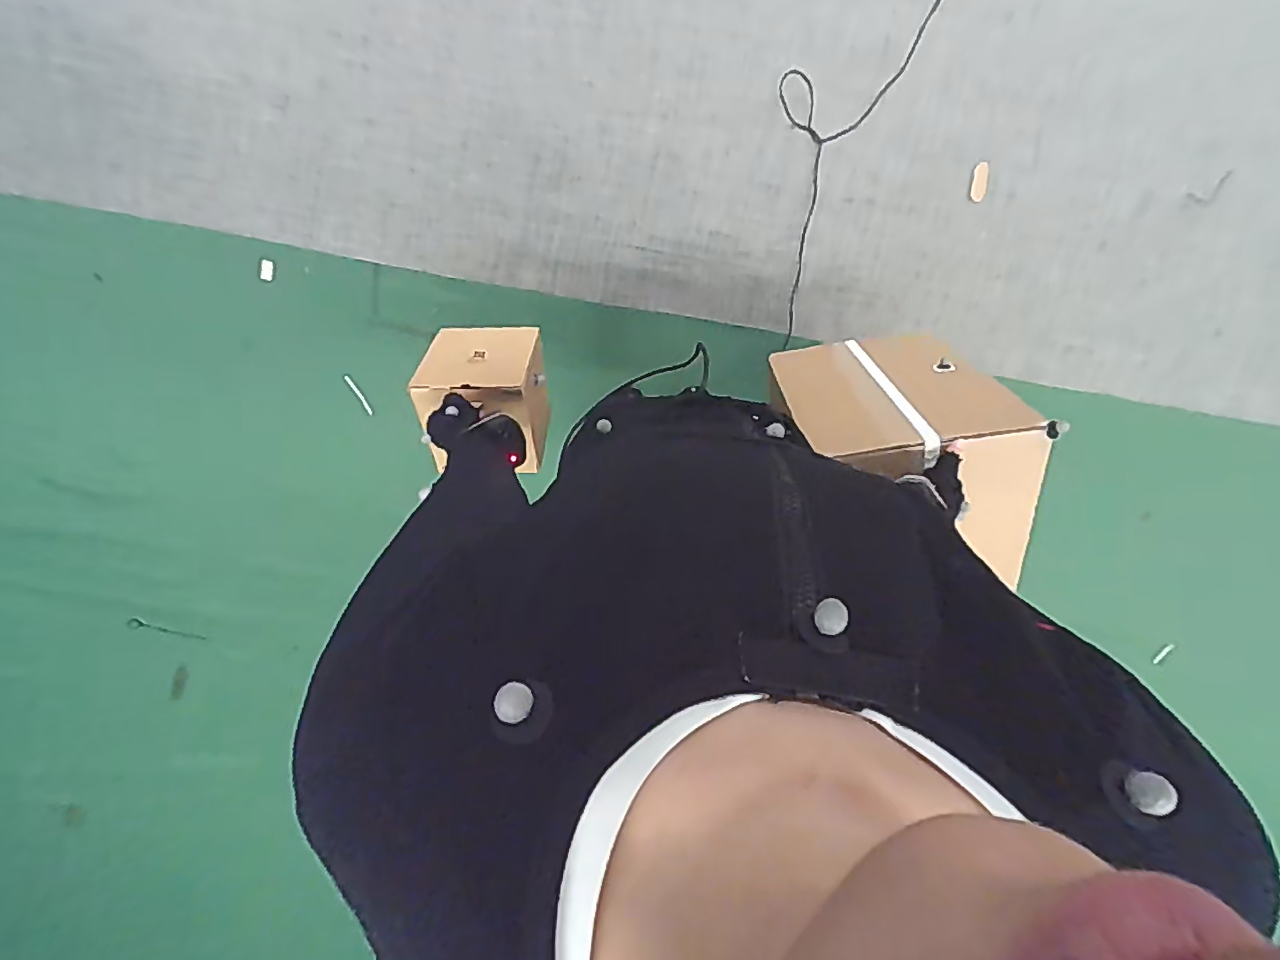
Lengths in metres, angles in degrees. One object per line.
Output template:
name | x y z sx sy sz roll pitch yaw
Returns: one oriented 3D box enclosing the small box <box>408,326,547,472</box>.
small box | -0.251 -0.134 0.887 0.168 0.179 0.176 0 135 1
